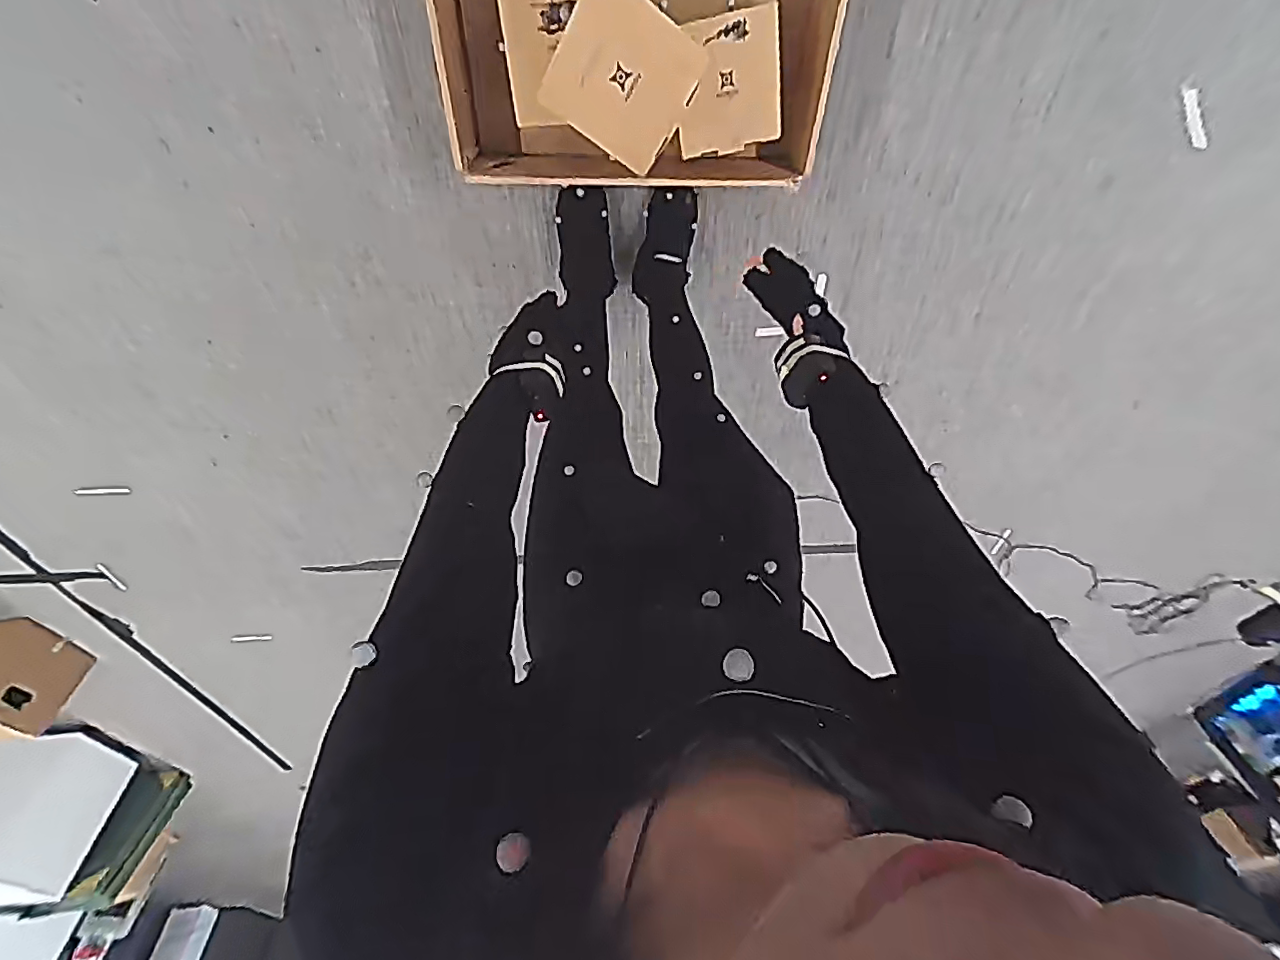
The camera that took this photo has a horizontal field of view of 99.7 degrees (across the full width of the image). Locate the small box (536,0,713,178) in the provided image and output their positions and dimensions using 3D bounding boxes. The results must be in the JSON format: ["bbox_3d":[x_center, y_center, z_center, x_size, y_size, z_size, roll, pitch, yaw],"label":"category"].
[{"bbox_3d":[-0.025,-0.566,0.756,0.179,0.176,0.168,25,123,-23],"label":"small box"}]
